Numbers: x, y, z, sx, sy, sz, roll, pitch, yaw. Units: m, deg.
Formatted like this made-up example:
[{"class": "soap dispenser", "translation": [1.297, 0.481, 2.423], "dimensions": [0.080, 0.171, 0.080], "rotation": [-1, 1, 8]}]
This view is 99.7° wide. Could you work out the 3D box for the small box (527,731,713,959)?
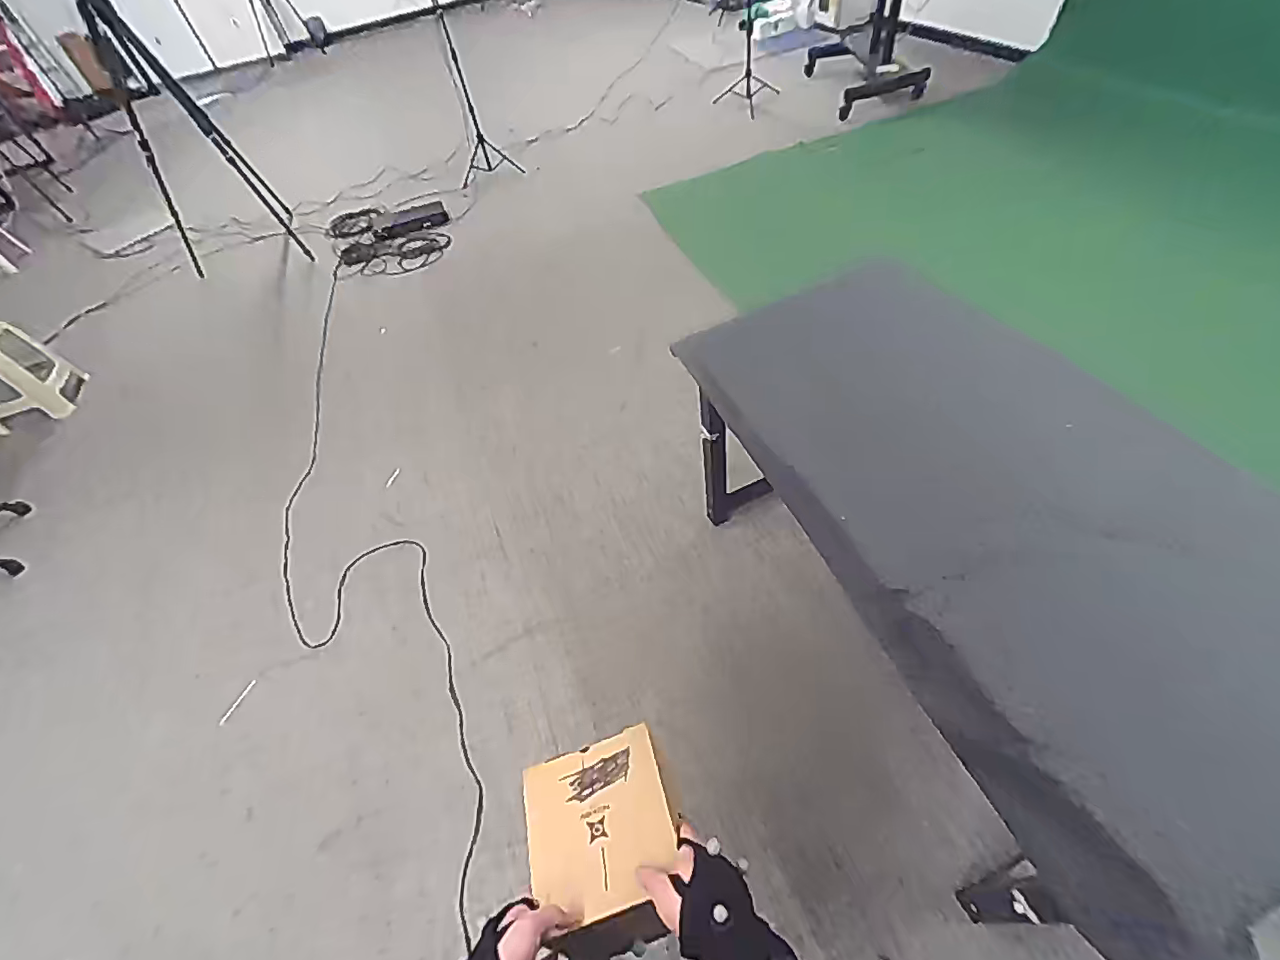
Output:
[{"class": "small box", "translation": [-0.025, 0.452, 0.663], "dimensions": [0.168, 0.176, 0.179], "rotation": [-22, 41, -2]}]
